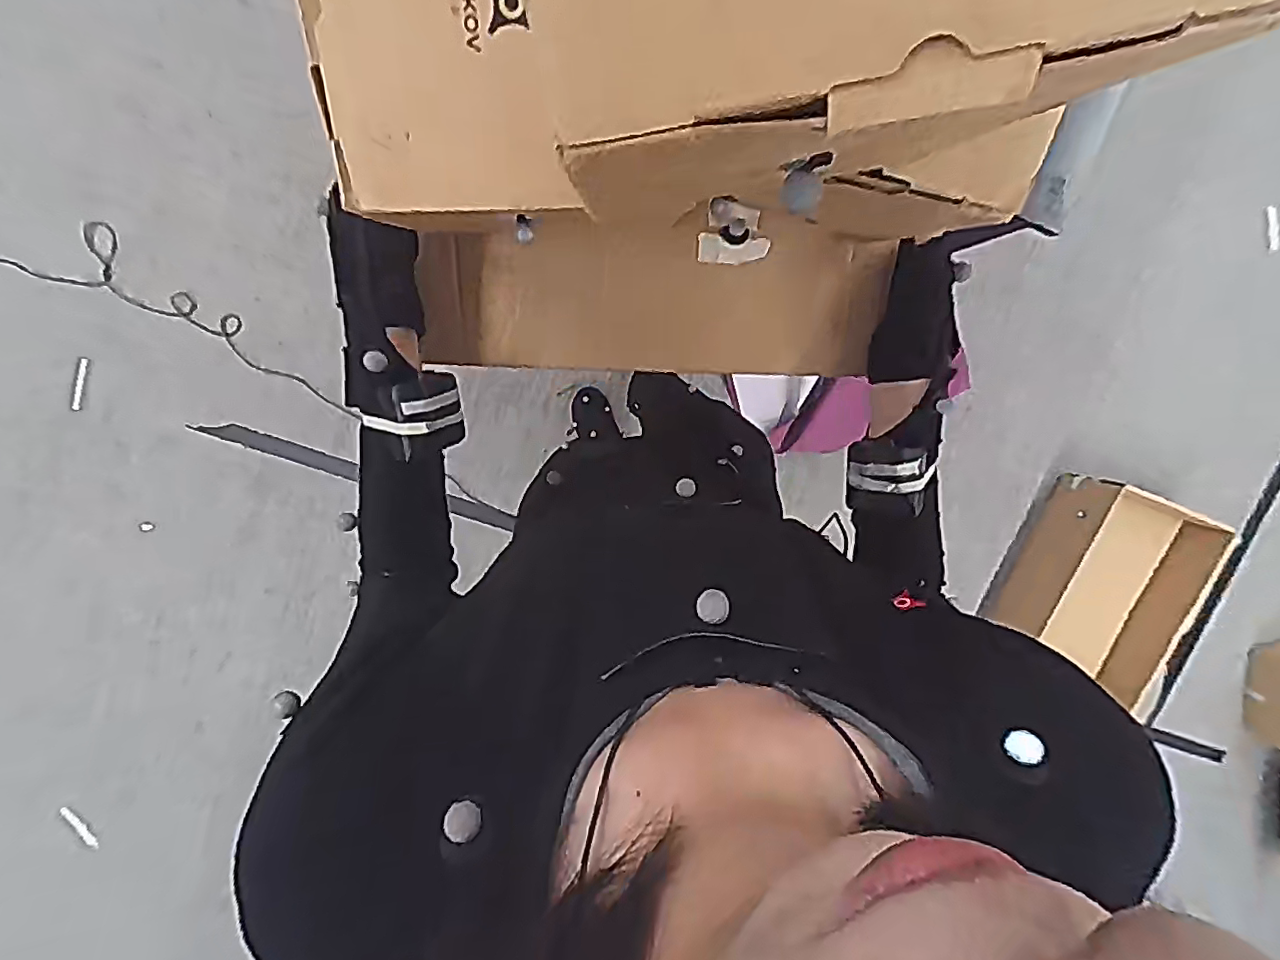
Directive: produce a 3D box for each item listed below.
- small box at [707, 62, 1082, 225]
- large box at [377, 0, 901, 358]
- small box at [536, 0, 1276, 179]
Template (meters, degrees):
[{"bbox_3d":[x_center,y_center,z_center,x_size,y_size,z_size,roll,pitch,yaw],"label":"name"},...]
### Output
[{"bbox_3d":[0.131,-0.263,0.312,0.168,0.176,0.179,12,108,-6],"label":"small box"},{"bbox_3d":[0.005,-0.302,0.551,0.408,0.320,0.320,0,111,-4],"label":"large box"},{"bbox_3d":[0.047,-0.200,0.156,0.168,0.176,0.179,-10,112,2],"label":"small box"}]
